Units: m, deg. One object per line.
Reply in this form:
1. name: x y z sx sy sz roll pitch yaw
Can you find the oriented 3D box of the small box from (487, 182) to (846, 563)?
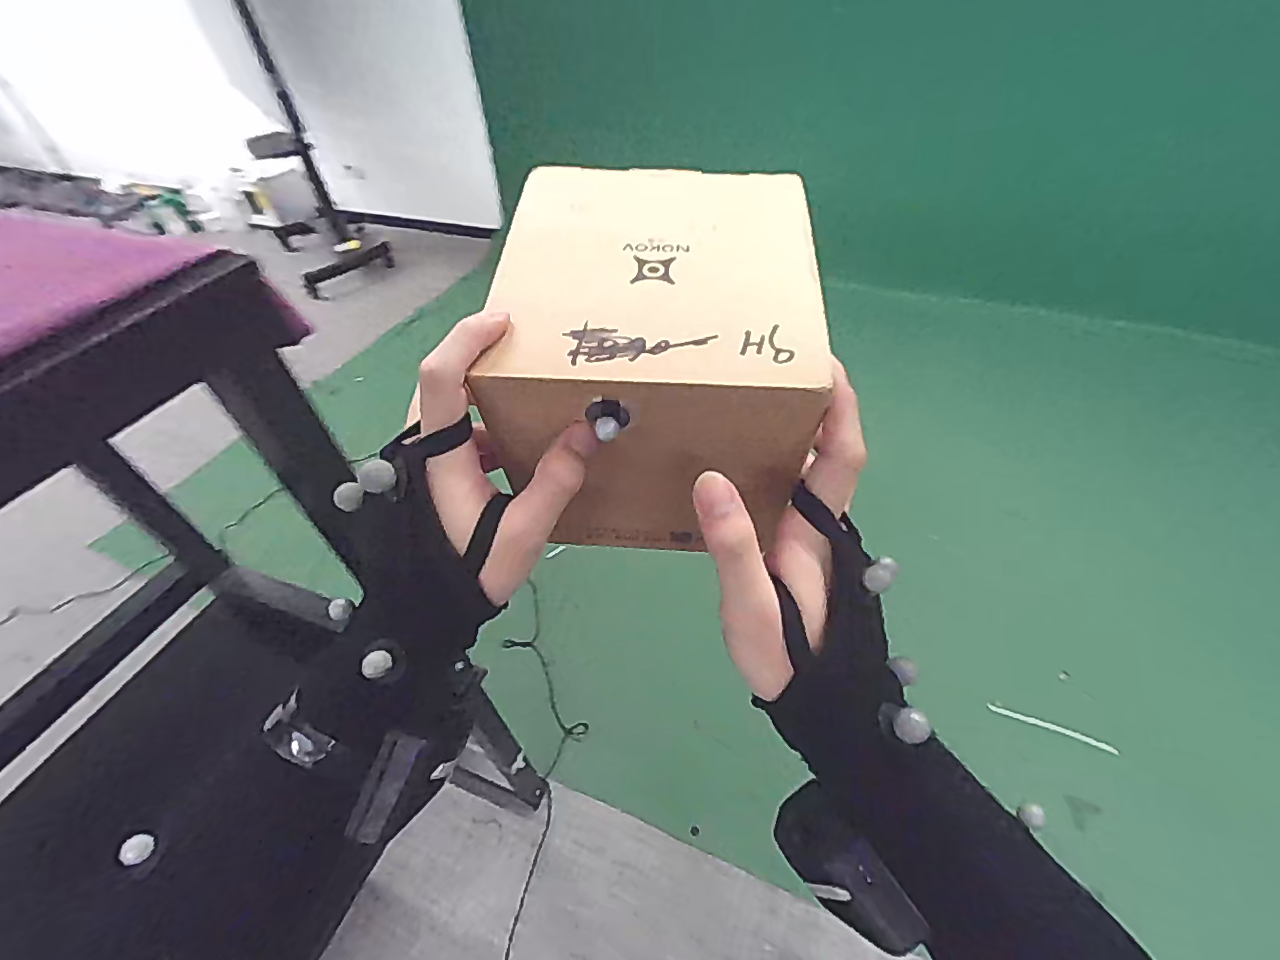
1. small box: 0.019 -0.066 0.354 0.168 0.176 0.179 3 56 4
